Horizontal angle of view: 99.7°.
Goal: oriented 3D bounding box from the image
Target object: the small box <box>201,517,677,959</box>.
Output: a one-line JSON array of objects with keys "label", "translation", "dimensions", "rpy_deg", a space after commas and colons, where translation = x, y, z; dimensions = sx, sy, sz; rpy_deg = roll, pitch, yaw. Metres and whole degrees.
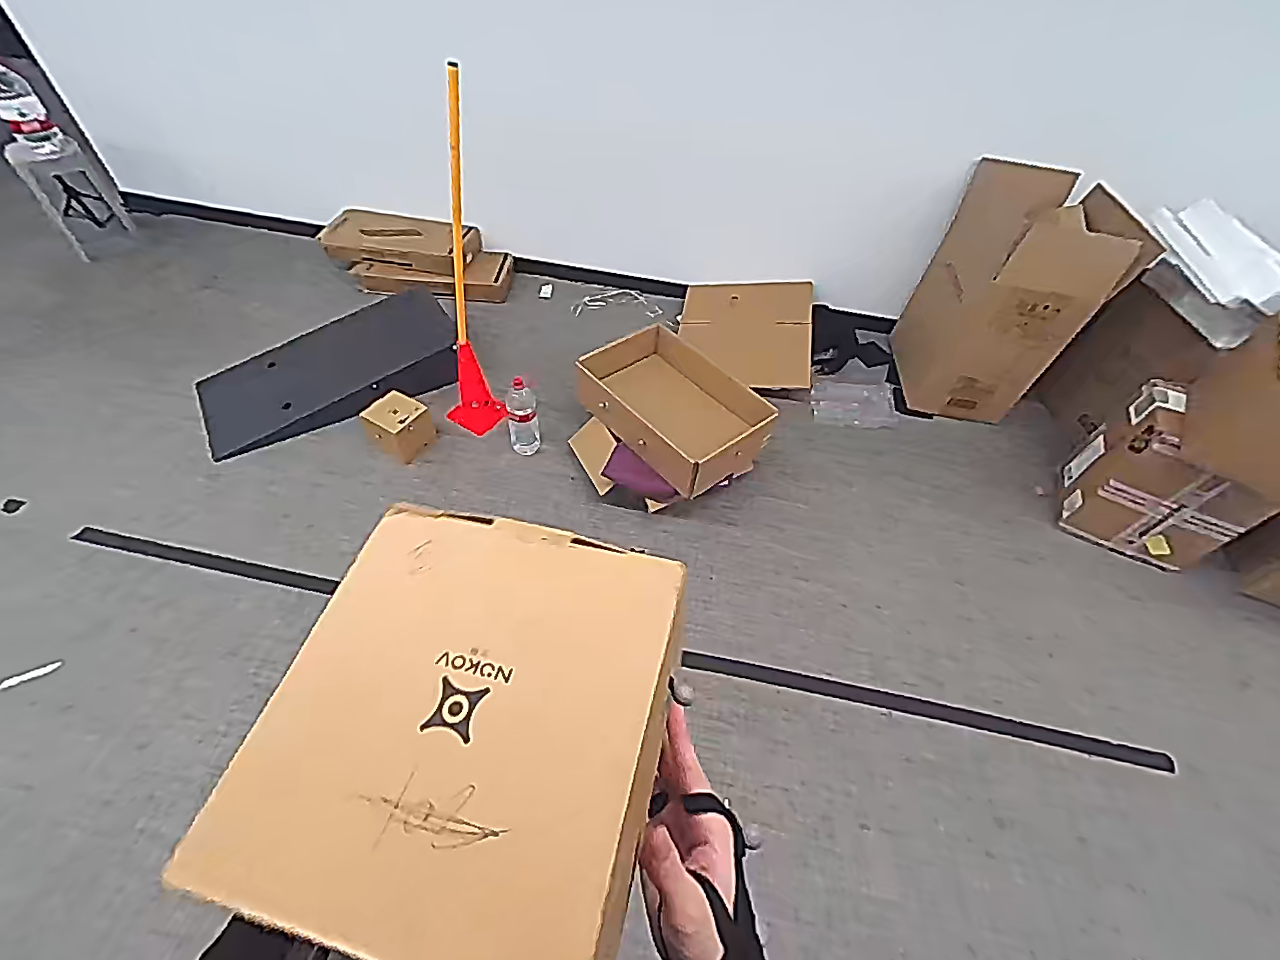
[{"label": "small box", "translation": [-0.076, 0.148, 0.313], "dimensions": [0.168, 0.176, 0.179], "rpy_deg": [8, 56, 9]}]
